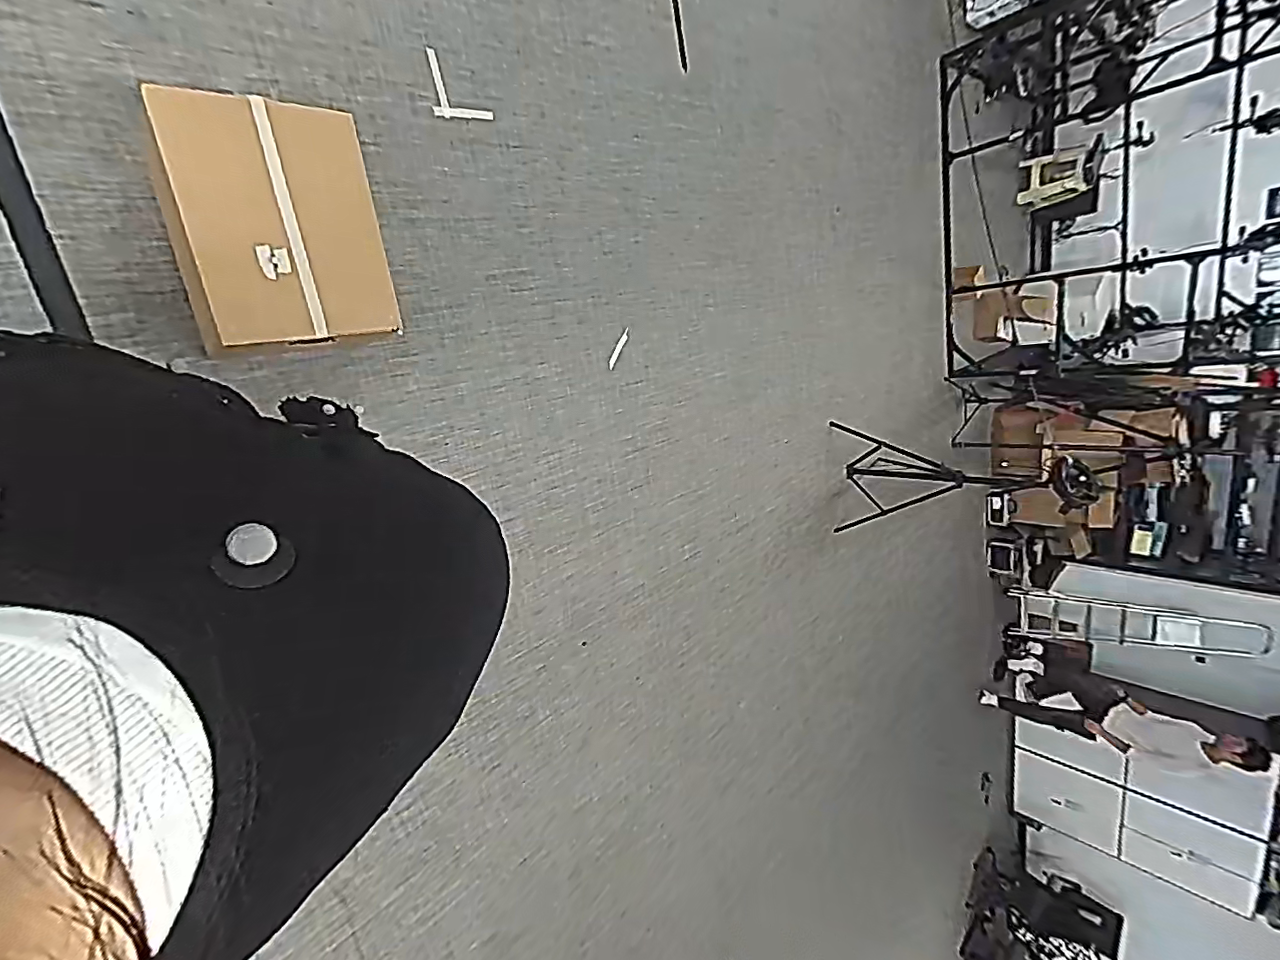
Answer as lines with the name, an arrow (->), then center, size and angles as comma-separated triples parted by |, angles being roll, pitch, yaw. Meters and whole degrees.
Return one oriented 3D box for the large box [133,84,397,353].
large box -> -0.746, -0.485, 1.088 | 0.320, 0.320, 0.408 | -20, 109, -38
